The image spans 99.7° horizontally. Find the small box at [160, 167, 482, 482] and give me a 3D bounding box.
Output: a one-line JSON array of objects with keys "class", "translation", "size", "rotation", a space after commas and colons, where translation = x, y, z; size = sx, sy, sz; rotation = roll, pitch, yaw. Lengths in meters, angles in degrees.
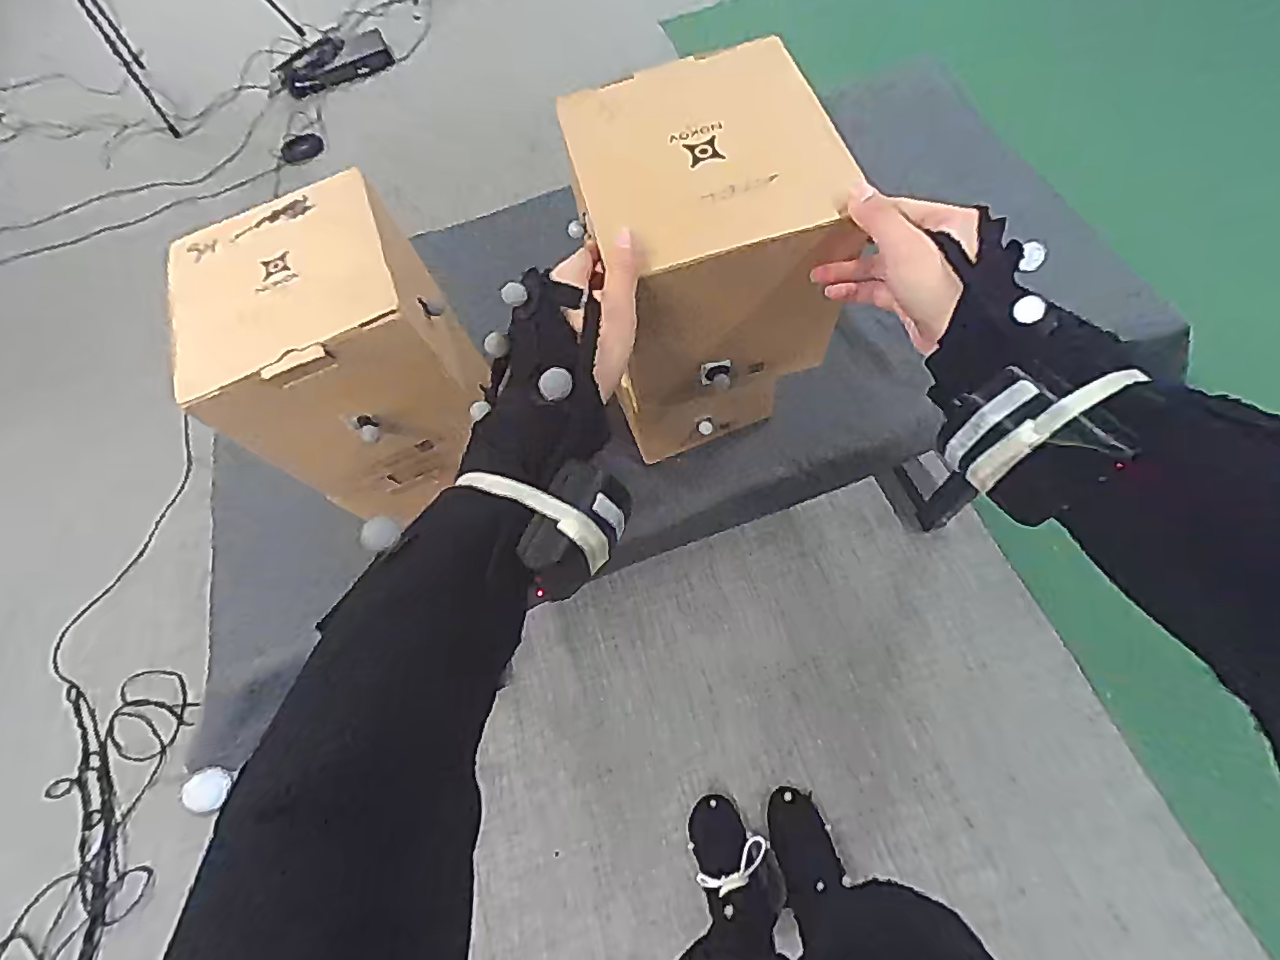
[{"class": "small box", "translation": [-0.259, -0.116, 0.468], "size": [0.168, 0.176, 0.179], "rotation": [-24, 66, -3]}]

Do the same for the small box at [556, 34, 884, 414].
[{"class": "small box", "translation": [0.048, -0.179, 0.414], "size": [0.168, 0.176, 0.179], "rotation": [-17, 69, 0]}]

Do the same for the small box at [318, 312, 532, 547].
[{"class": "small box", "translation": [-0.242, -0.050, 0.617], "size": [0.168, 0.176, 0.179], "rotation": [-23, 65, -2]}]

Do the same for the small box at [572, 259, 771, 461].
[{"class": "small box", "translation": [0.039, -0.152, 0.616], "size": [0.168, 0.176, 0.179], "rotation": [-22, 64, -1]}]
